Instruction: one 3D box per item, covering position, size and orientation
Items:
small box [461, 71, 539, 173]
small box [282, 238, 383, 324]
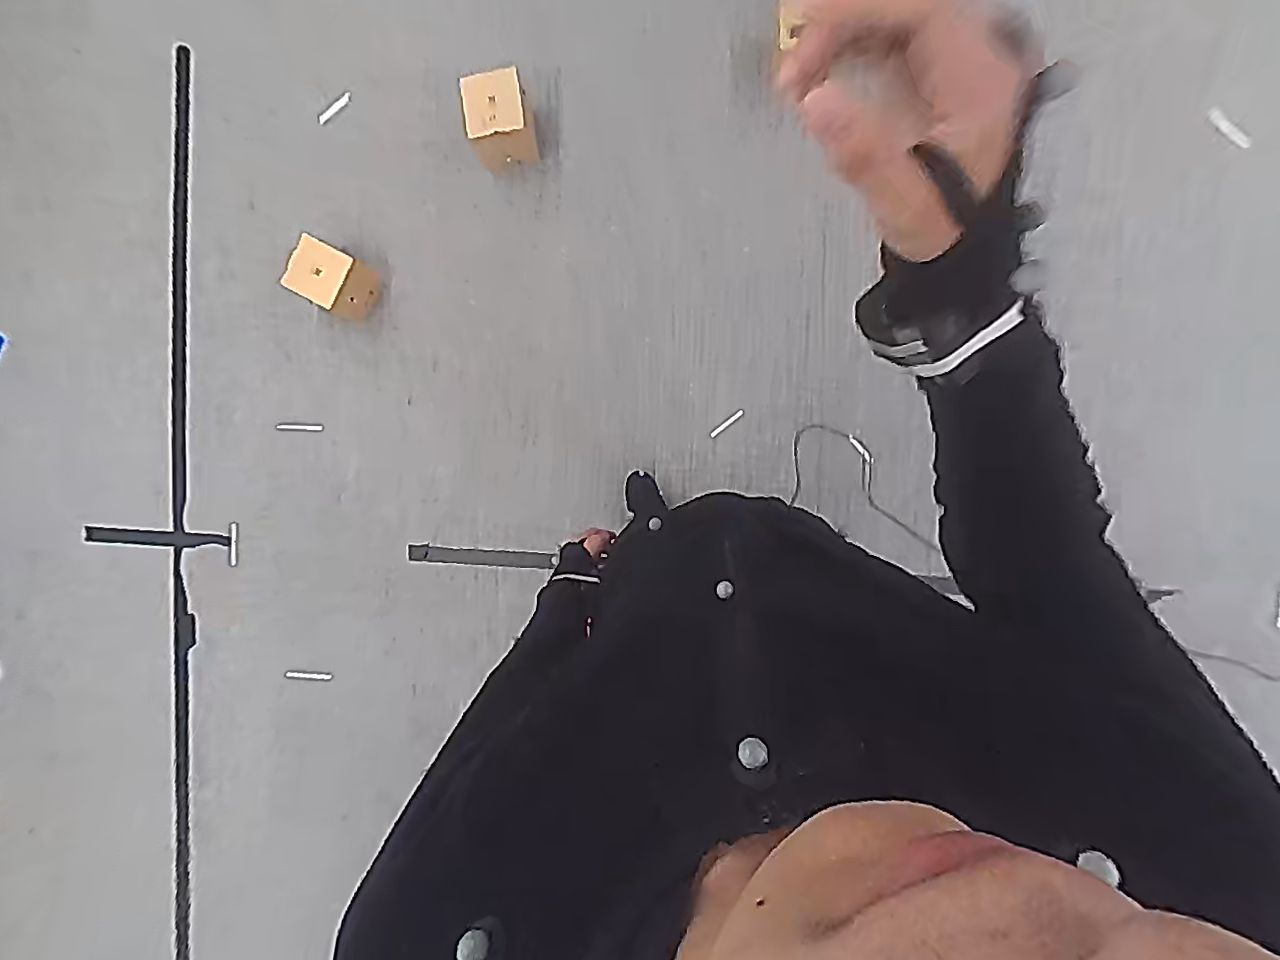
[{"bbox_3d":[-0.405,-1.040,1.583,0.168,0.176,0.179,-8,91,4],"label":"small box"},{"bbox_3d":[-0.919,-0.590,1.633,0.179,0.176,0.168,28,93,4],"label":"small box"}]
